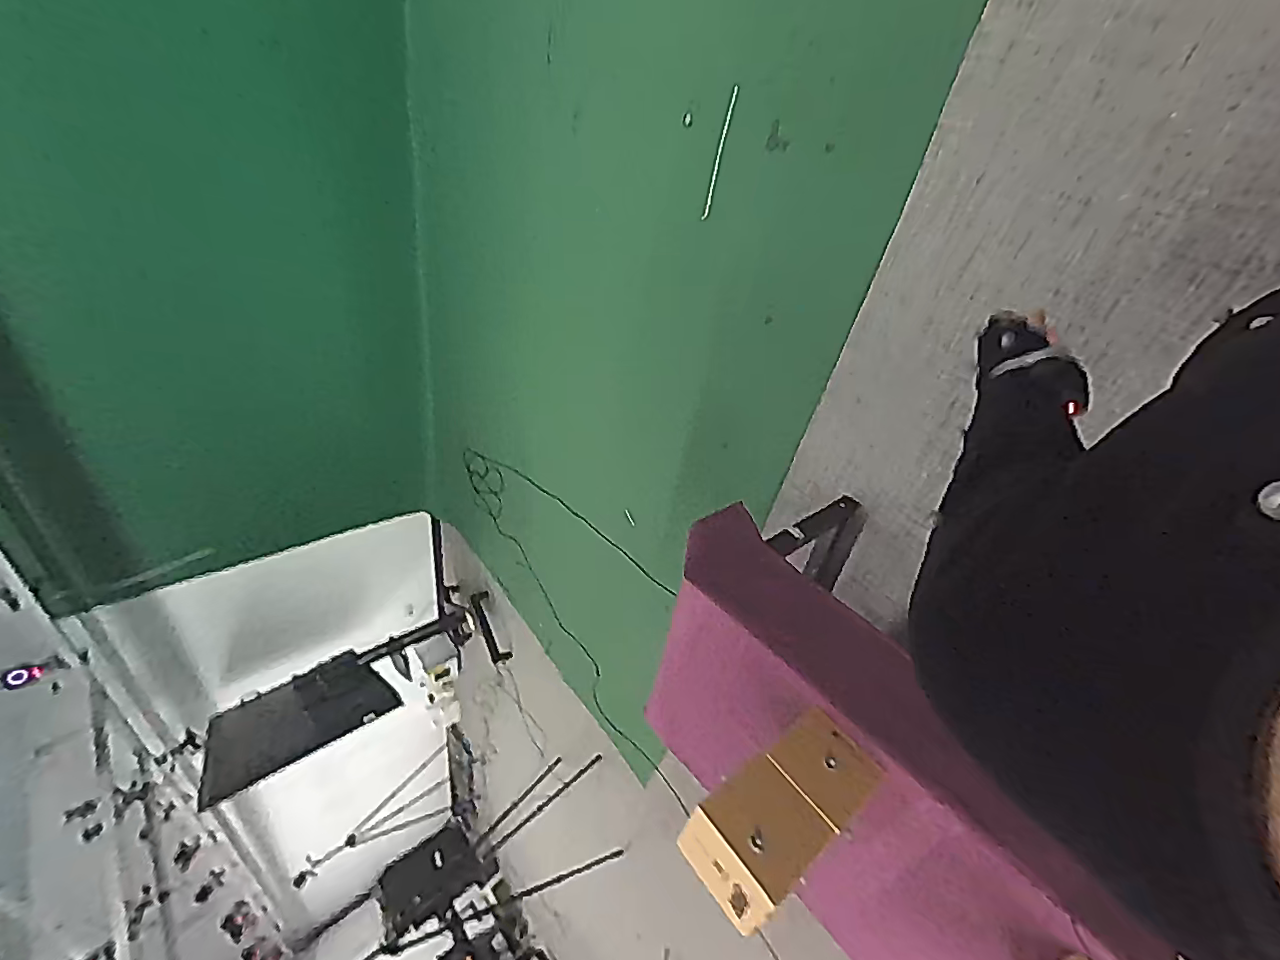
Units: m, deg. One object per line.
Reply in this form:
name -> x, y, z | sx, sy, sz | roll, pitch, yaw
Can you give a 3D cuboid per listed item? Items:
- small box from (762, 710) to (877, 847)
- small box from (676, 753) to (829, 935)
small box -> 0.325, 0.584, 1.040 | 0.168, 0.176, 0.179 | 41, 134, 33
small box -> 0.196, 0.627, 0.946 | 0.179, 0.176, 0.168 | 42, 134, 33
